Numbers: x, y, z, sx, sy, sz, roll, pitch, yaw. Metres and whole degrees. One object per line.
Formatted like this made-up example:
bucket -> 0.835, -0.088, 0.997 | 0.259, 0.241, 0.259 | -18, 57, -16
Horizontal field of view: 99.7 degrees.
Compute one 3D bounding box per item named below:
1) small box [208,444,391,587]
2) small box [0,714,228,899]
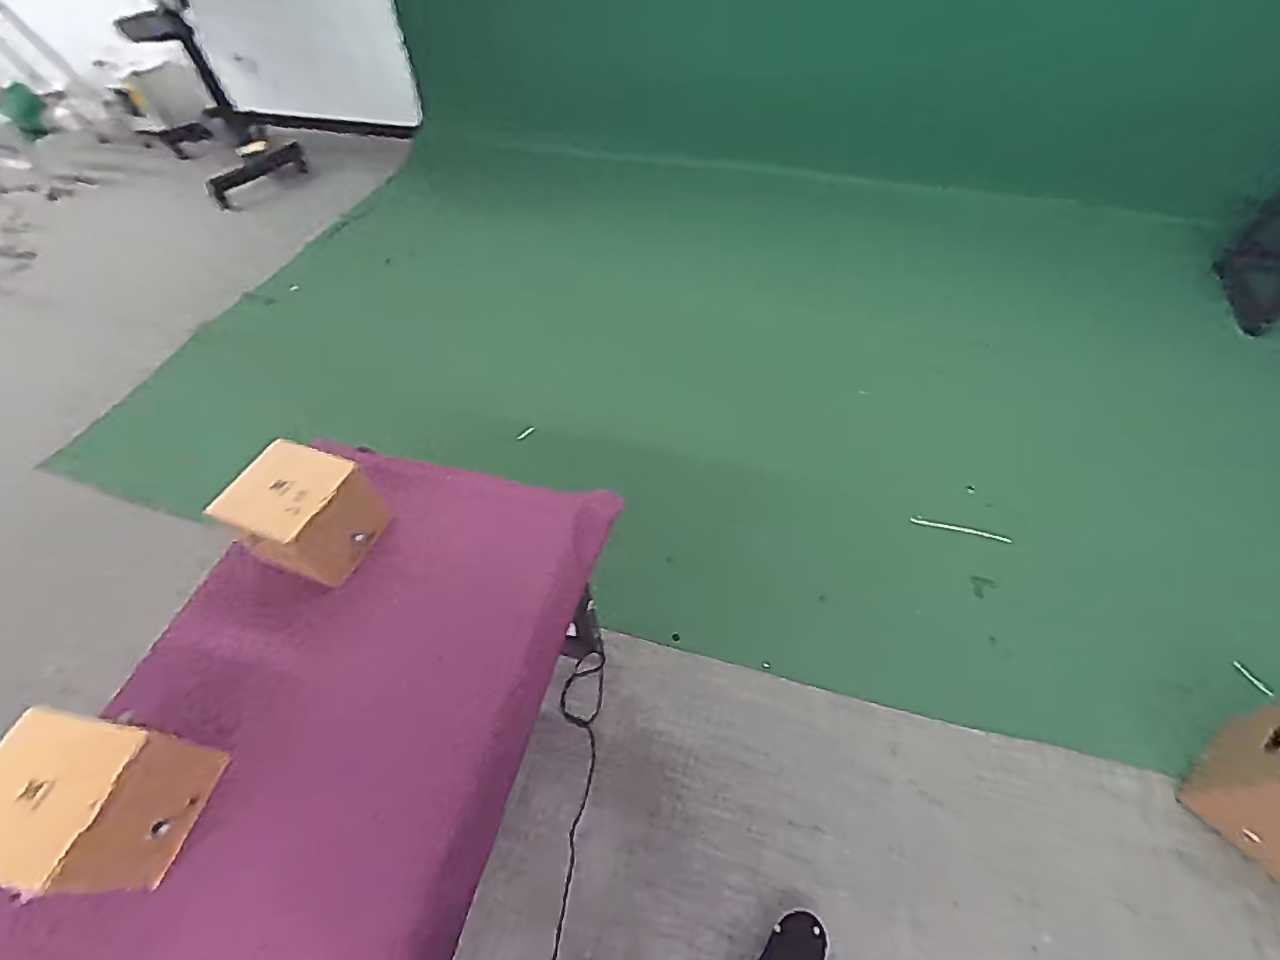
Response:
small box -> -0.583, 0.067, 0.952 | 0.179, 0.176, 0.168 | 16, 57, 12
small box -> -0.700, 0.421, 0.697 | 0.179, 0.176, 0.168 | 8, 54, 6
